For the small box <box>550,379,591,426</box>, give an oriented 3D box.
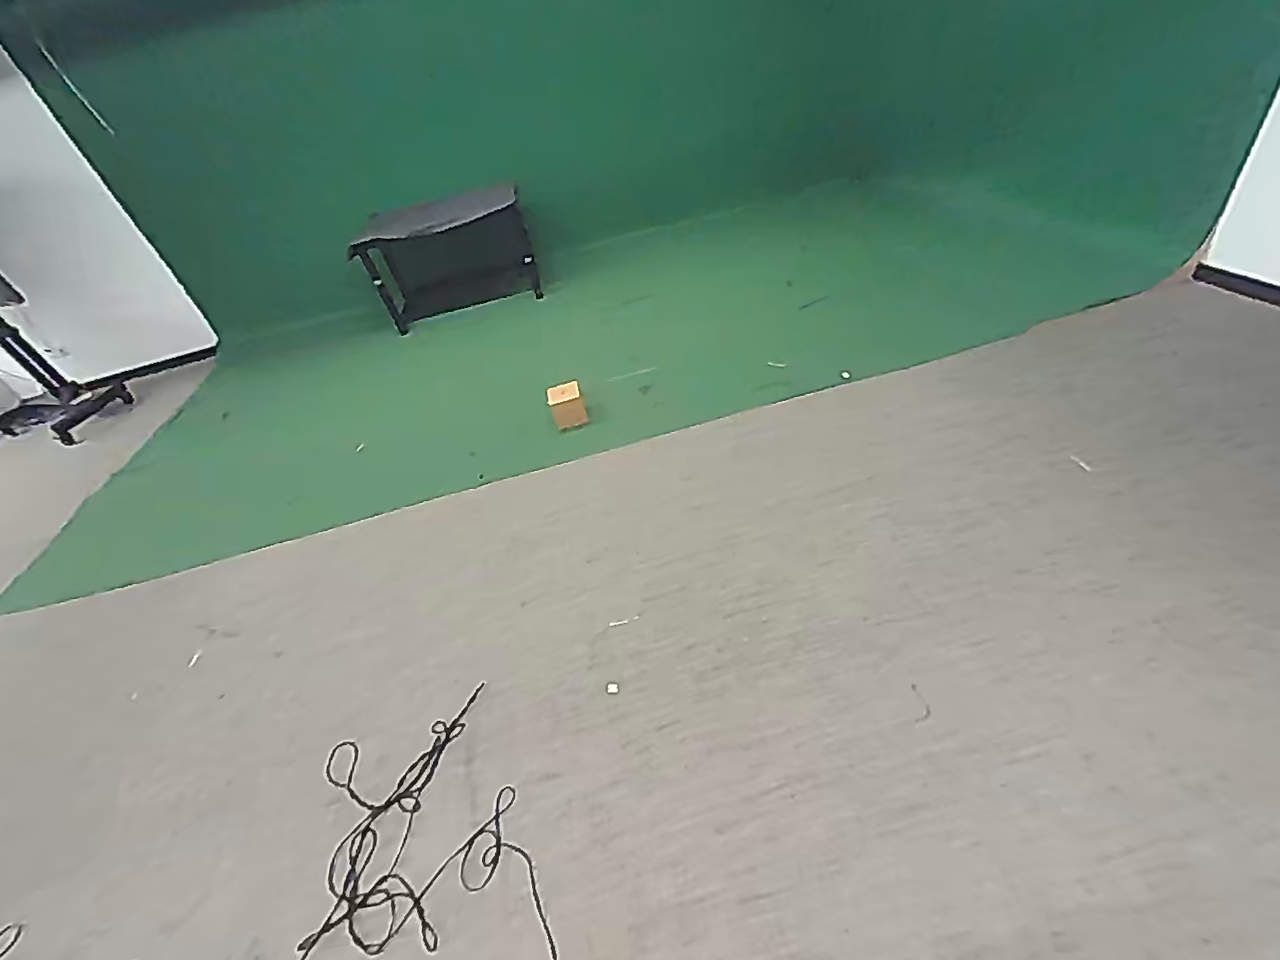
[{"bbox_3d":[-0.367,-0.404,2.853,0.168,0.176,0.179,-17,39,-1],"label":"small box"}]
